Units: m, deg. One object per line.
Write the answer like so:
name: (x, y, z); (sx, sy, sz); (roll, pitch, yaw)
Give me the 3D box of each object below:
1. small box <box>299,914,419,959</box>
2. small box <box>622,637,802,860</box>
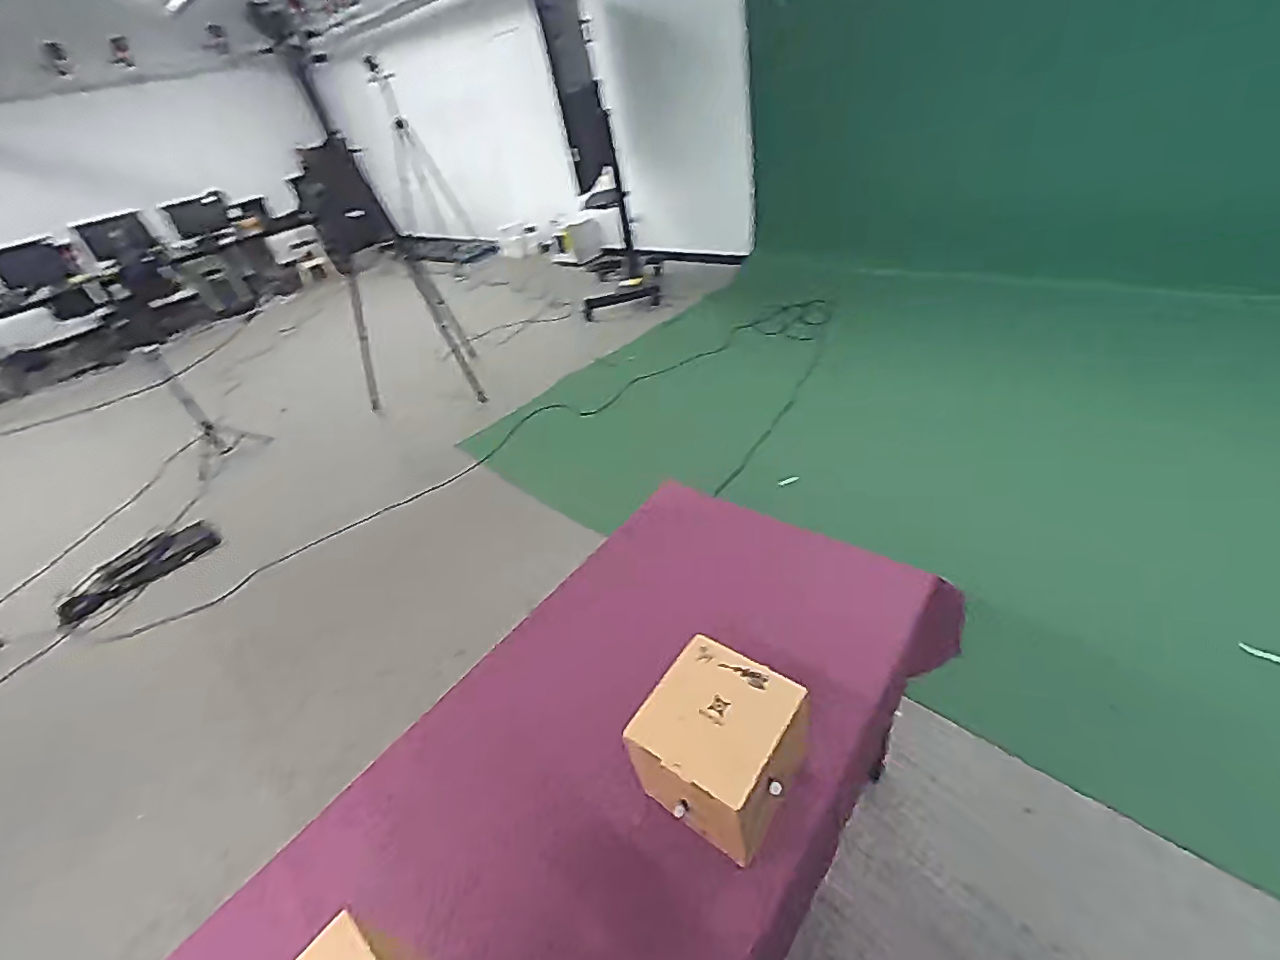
small box: (-0.209, 0.473, 0.378); (0.168, 0.176, 0.179); (19, 47, 36)
small box: (0.106, 0.353, 0.717); (0.168, 0.176, 0.179); (19, 48, 35)
